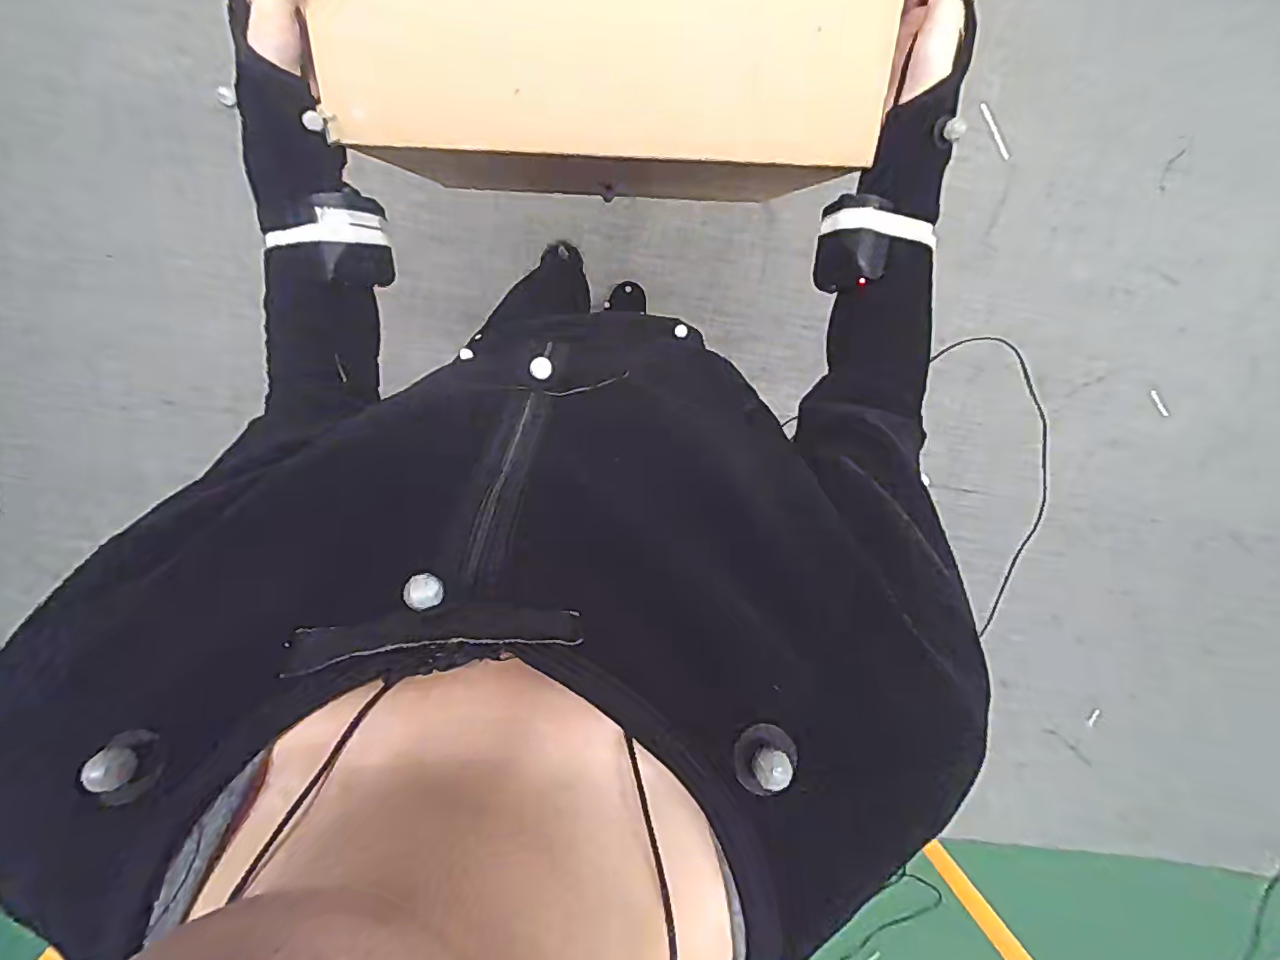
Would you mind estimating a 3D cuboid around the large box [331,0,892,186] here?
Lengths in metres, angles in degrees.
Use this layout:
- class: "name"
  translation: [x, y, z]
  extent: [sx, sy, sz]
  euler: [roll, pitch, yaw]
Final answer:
- class: "large box"
  translation: [-0.019, -0.456, 0.492]
  extent: [0.408, 0.320, 0.320]
  euler: [1, 113, -3]
